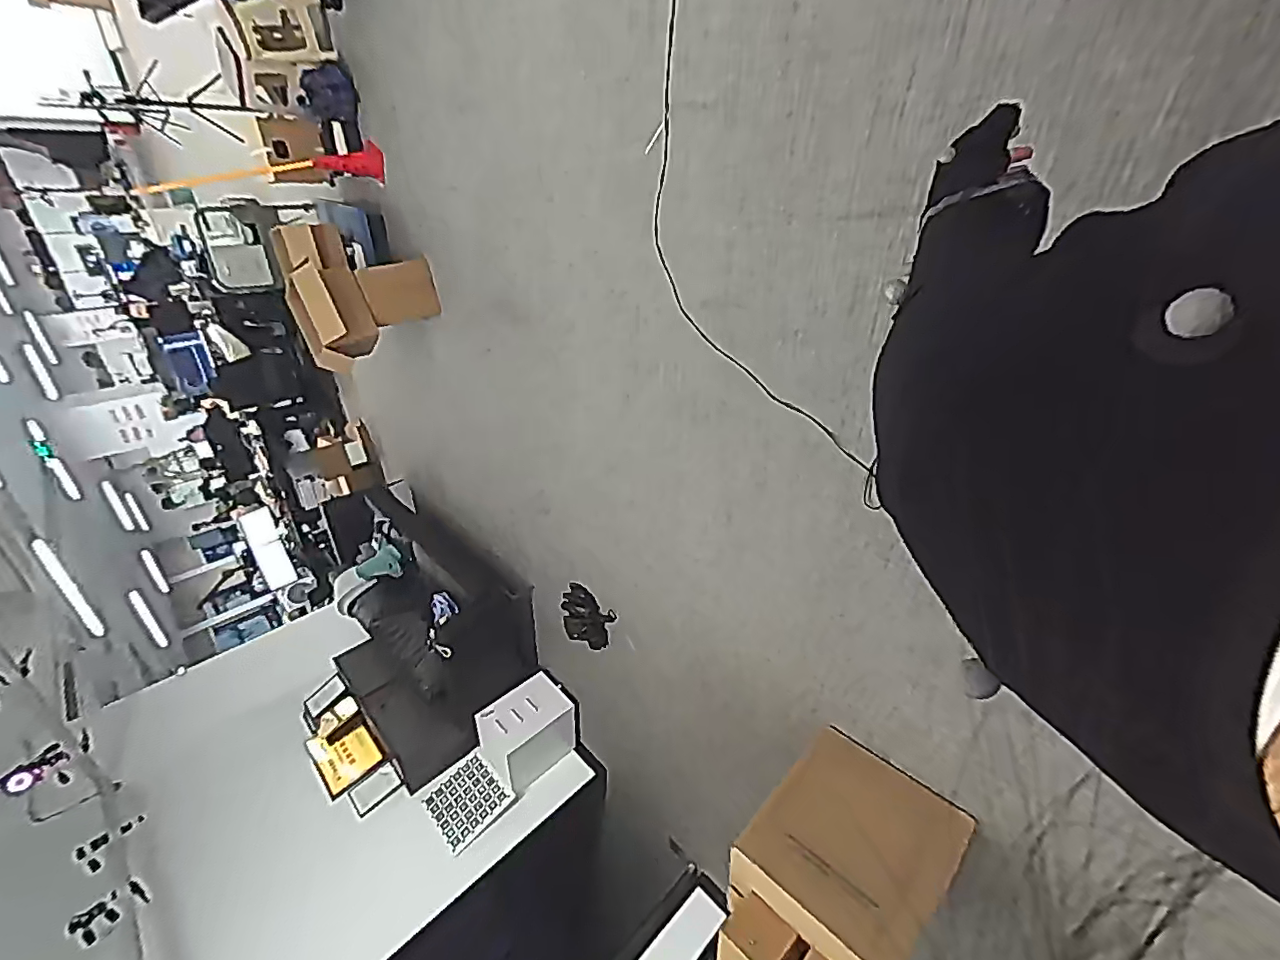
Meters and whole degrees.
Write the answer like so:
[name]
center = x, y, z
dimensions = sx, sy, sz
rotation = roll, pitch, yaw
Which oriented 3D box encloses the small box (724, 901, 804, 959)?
[small box]
center = 0.375, 1.441, 1.632
dimensions = 0.179, 0.176, 0.168
rotation = 20, 118, 44
